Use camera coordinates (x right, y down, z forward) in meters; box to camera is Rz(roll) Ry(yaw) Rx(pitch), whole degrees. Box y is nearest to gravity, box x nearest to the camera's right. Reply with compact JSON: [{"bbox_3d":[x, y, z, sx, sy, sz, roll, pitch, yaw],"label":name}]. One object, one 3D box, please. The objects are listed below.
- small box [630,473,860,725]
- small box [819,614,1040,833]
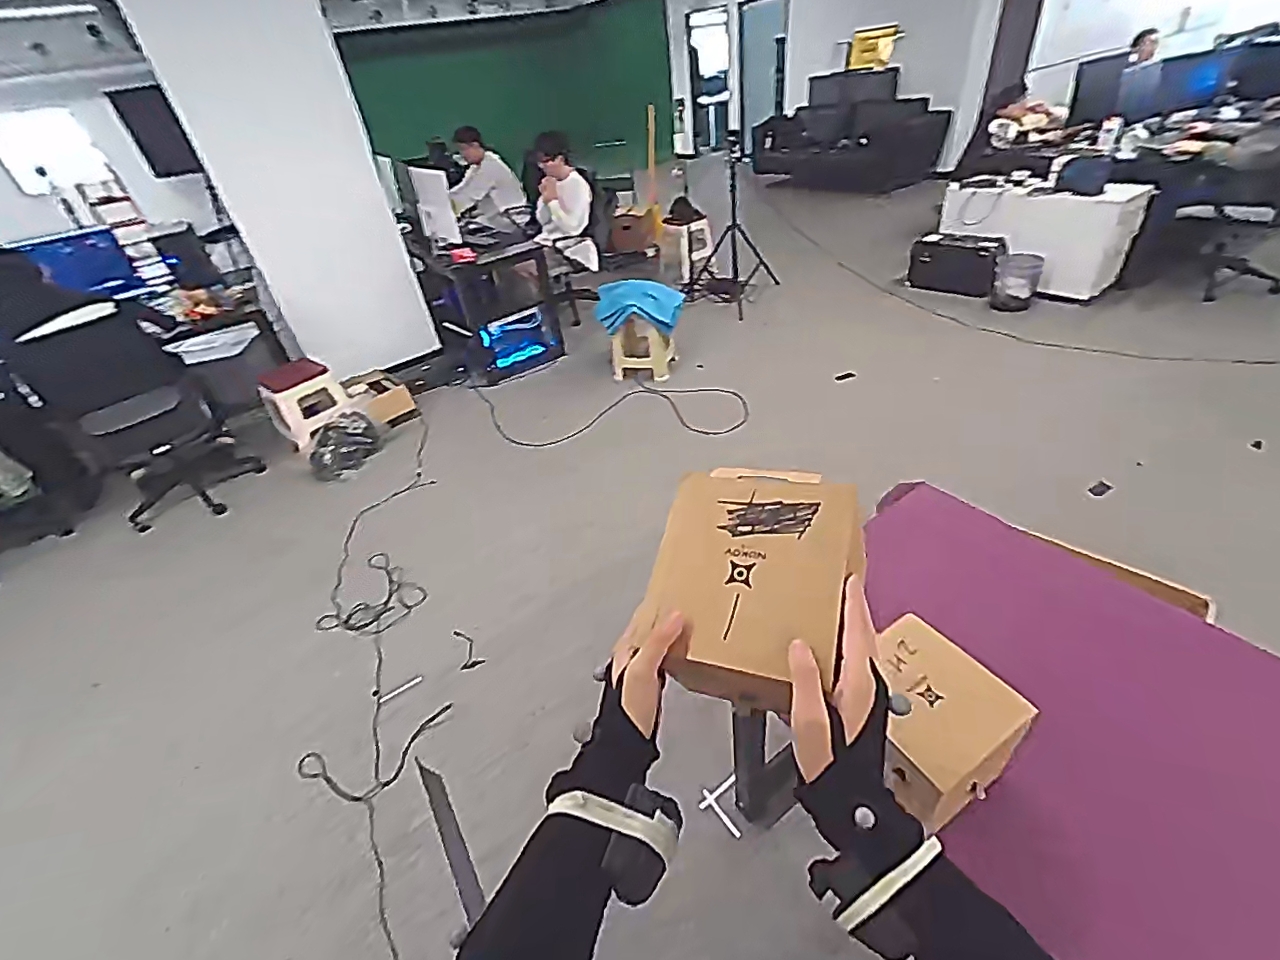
[{"bbox_3d":[0.114,0.113,0.518,0.168,0.176,0.179,4,60,27],"label":"small box"},{"bbox_3d":[0.356,0.317,0.699,0.168,0.176,0.179,-25,40,-19],"label":"small box"}]
